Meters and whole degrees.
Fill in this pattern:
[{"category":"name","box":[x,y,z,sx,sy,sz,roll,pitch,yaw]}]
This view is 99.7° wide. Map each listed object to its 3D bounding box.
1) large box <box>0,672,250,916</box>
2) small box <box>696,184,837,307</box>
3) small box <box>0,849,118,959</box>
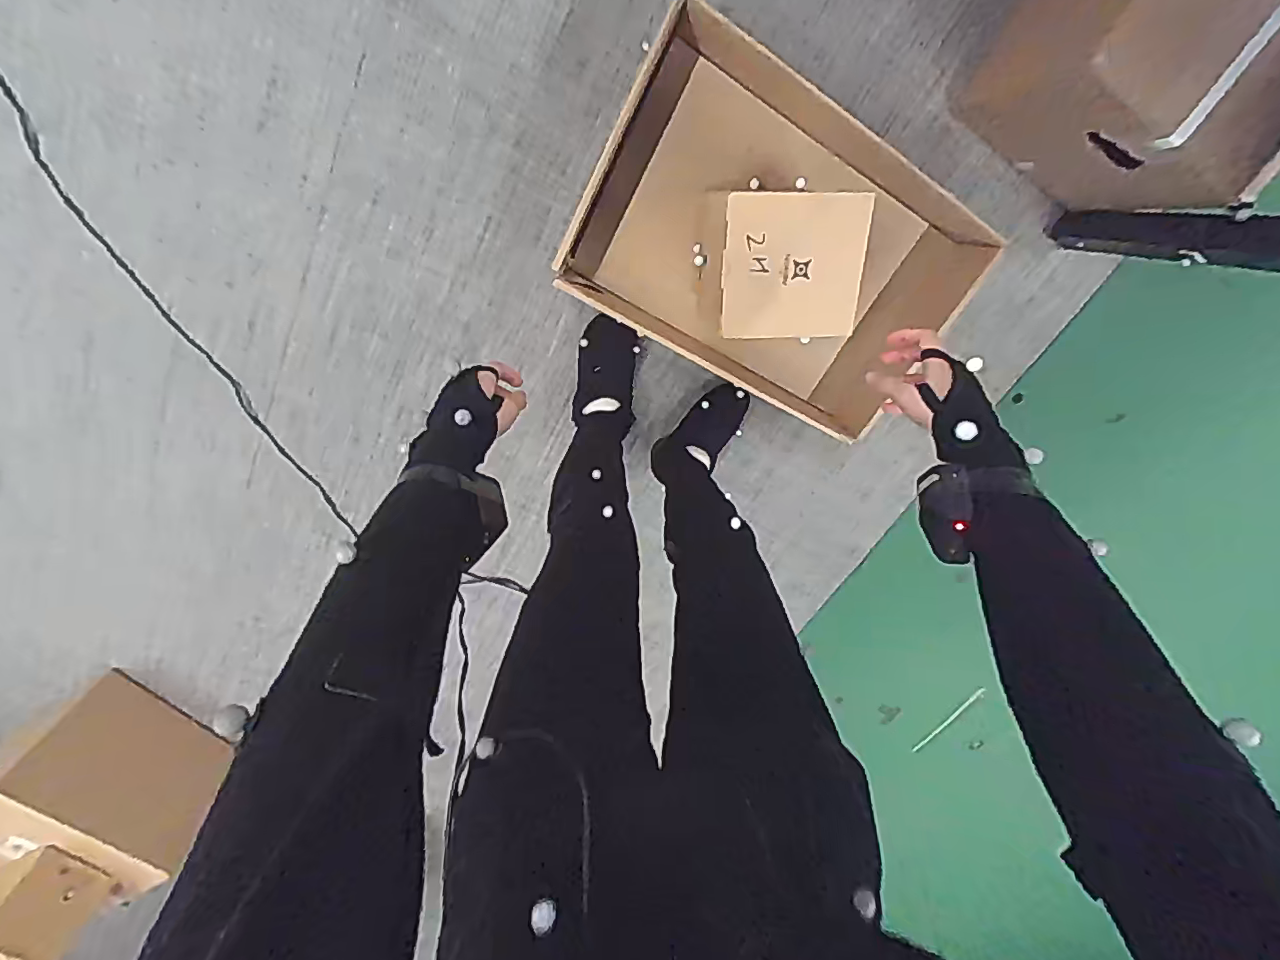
[{"category":"large box","box":[-1.280,0.749,1.295,0.320,0.320,0.408,-30,115,10]},{"category":"small box","box":[0.186,-0.373,0.860,0.179,0.176,0.168,-3,118,-3]},{"category":"small box","box":[-1.246,0.898,1.100,0.179,0.176,0.168,-26,116,9]}]
